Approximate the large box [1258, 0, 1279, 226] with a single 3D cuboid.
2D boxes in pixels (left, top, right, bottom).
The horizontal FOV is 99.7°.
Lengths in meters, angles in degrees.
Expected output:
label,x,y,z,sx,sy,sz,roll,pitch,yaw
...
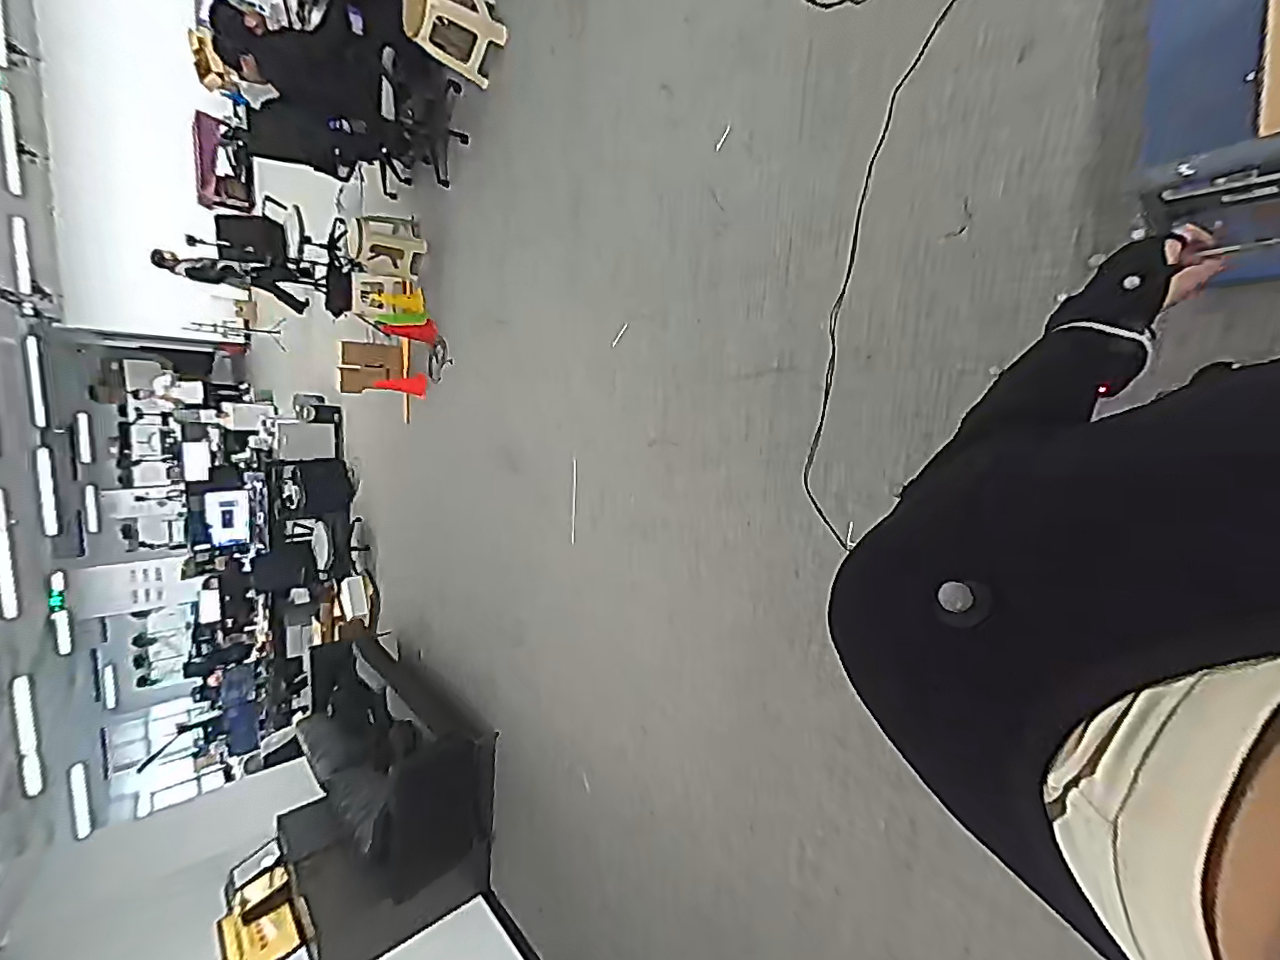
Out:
label,x,y,z,sx,sy,sz,roll,pitch,yaw
large box,1.106,-0.643,0.757,0.320,0.320,0.408,4,94,46
